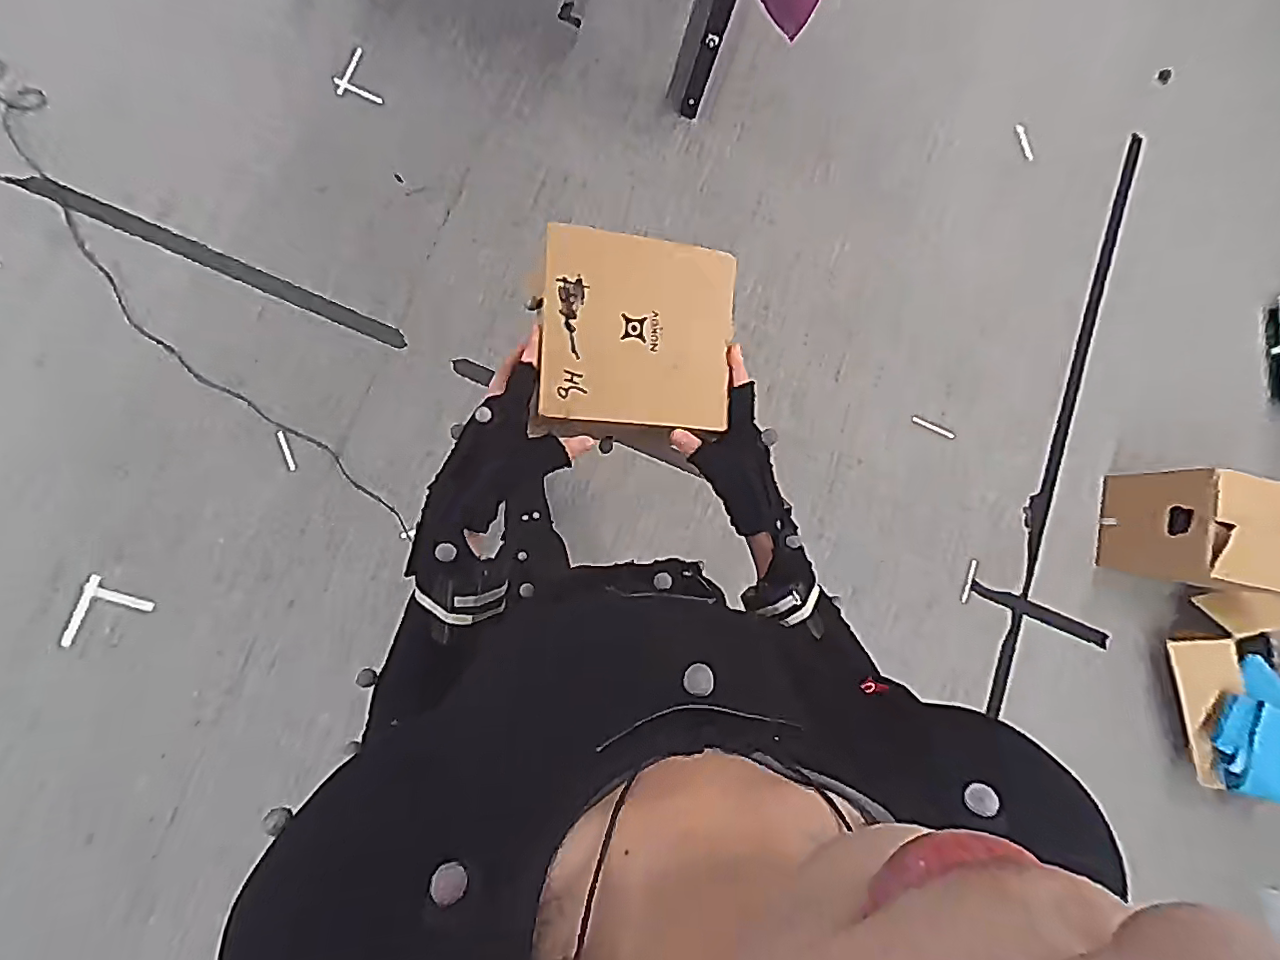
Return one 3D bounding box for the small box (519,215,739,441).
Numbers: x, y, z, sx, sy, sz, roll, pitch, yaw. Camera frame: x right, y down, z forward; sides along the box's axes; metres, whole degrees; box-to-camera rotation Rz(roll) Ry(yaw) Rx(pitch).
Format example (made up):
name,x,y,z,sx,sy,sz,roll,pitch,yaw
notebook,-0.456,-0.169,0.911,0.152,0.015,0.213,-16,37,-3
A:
name,x,y,z,sx,sy,sz,roll,pitch,yaw
small box,-0.021,-0.133,0.548,0.179,0.176,0.168,4,87,-18
